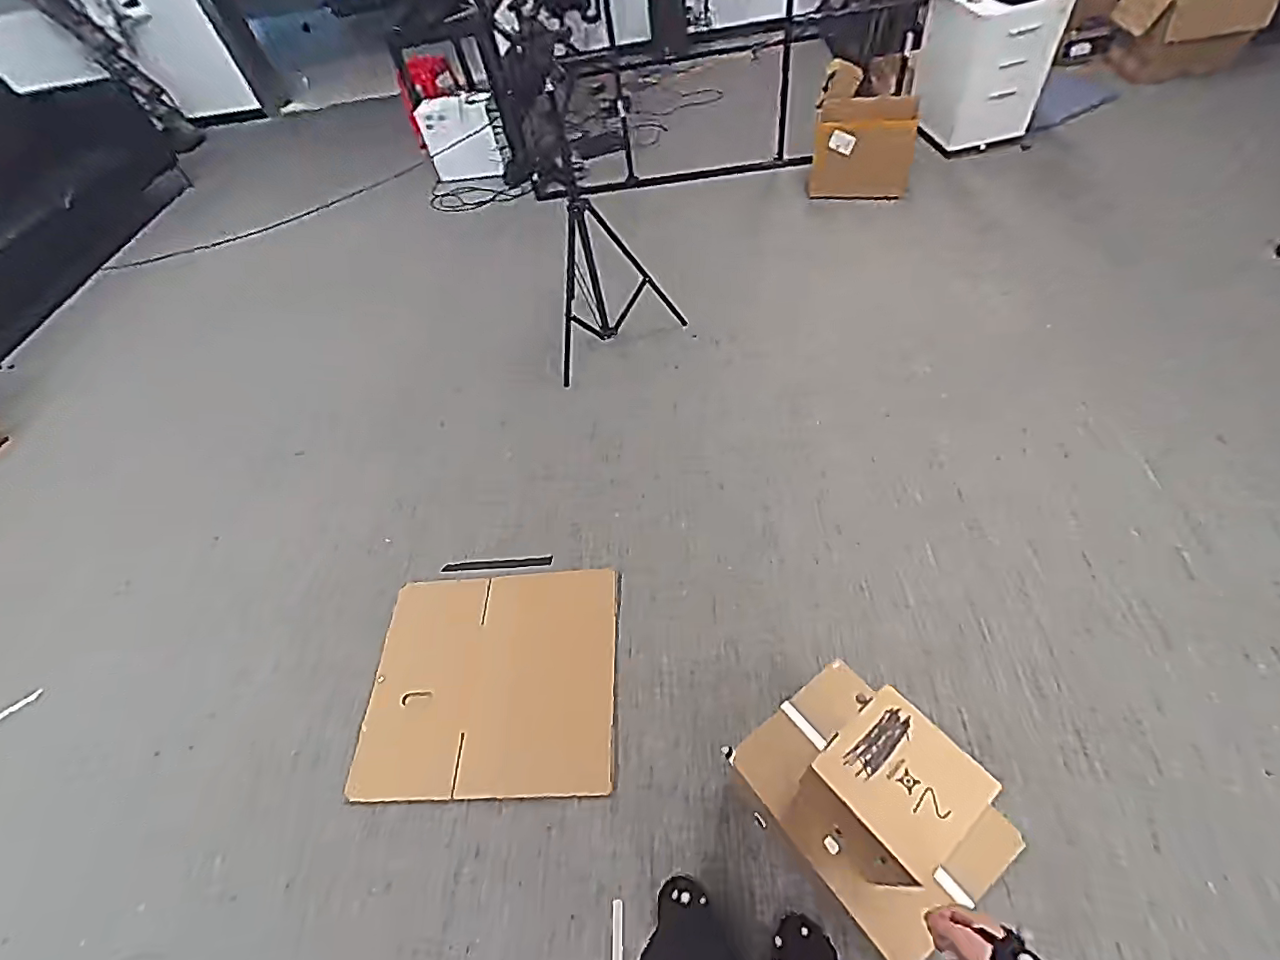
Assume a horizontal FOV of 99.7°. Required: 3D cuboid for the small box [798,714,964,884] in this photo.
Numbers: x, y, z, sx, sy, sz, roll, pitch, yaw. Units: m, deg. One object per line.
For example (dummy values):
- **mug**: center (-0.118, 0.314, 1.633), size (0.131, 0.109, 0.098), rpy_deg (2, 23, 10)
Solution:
- **small box**: center (0.385, 0.531, 0.900), size (0.168, 0.176, 0.179), rpy_deg (-37, 57, -16)
